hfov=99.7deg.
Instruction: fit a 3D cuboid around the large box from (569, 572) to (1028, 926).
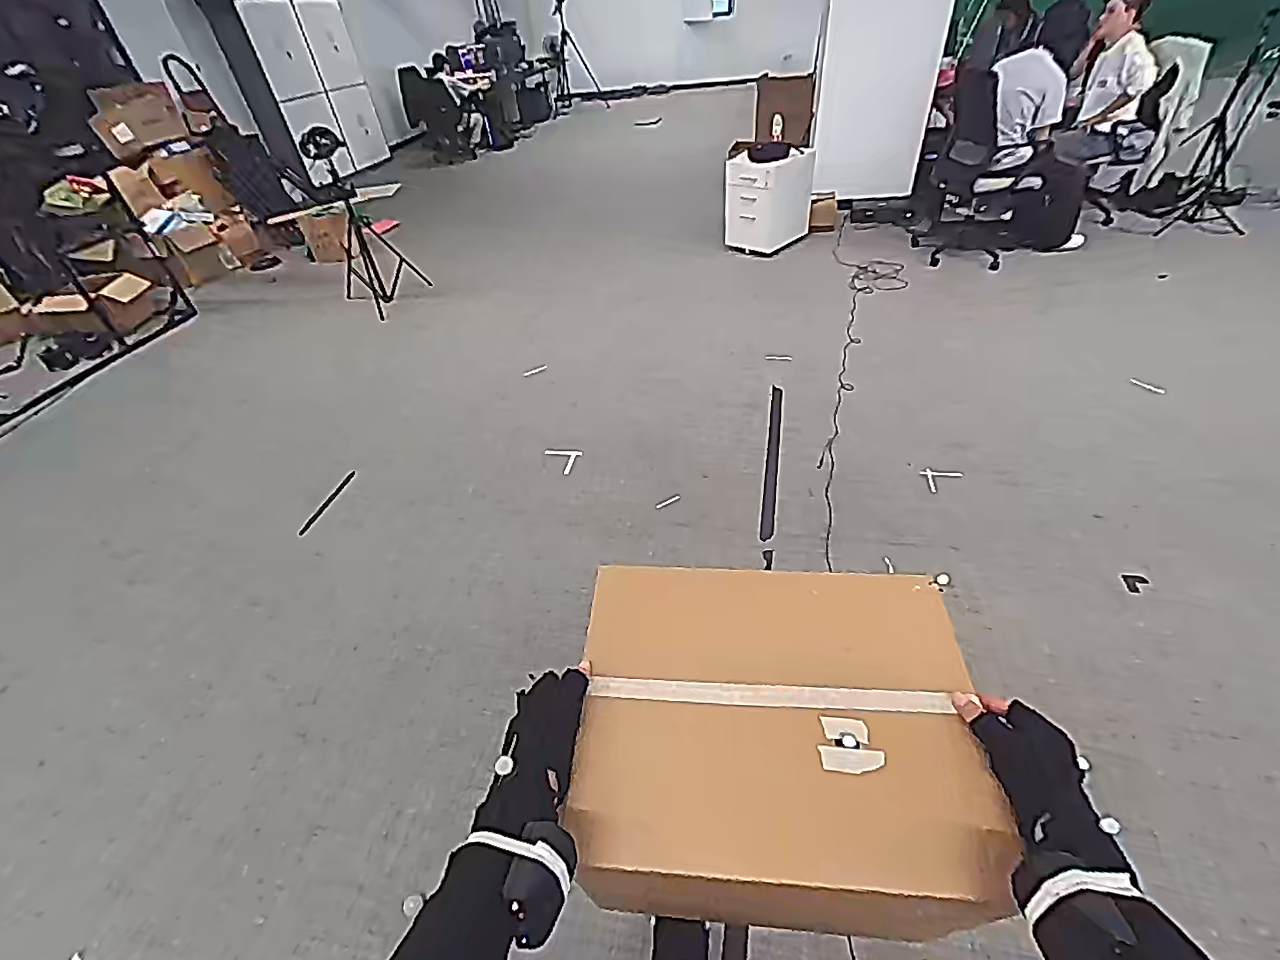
[{"bbox_3d":[0.148,0.332,0.678,0.408,0.320,0.320,1,46,6],"label":"large box"}]
